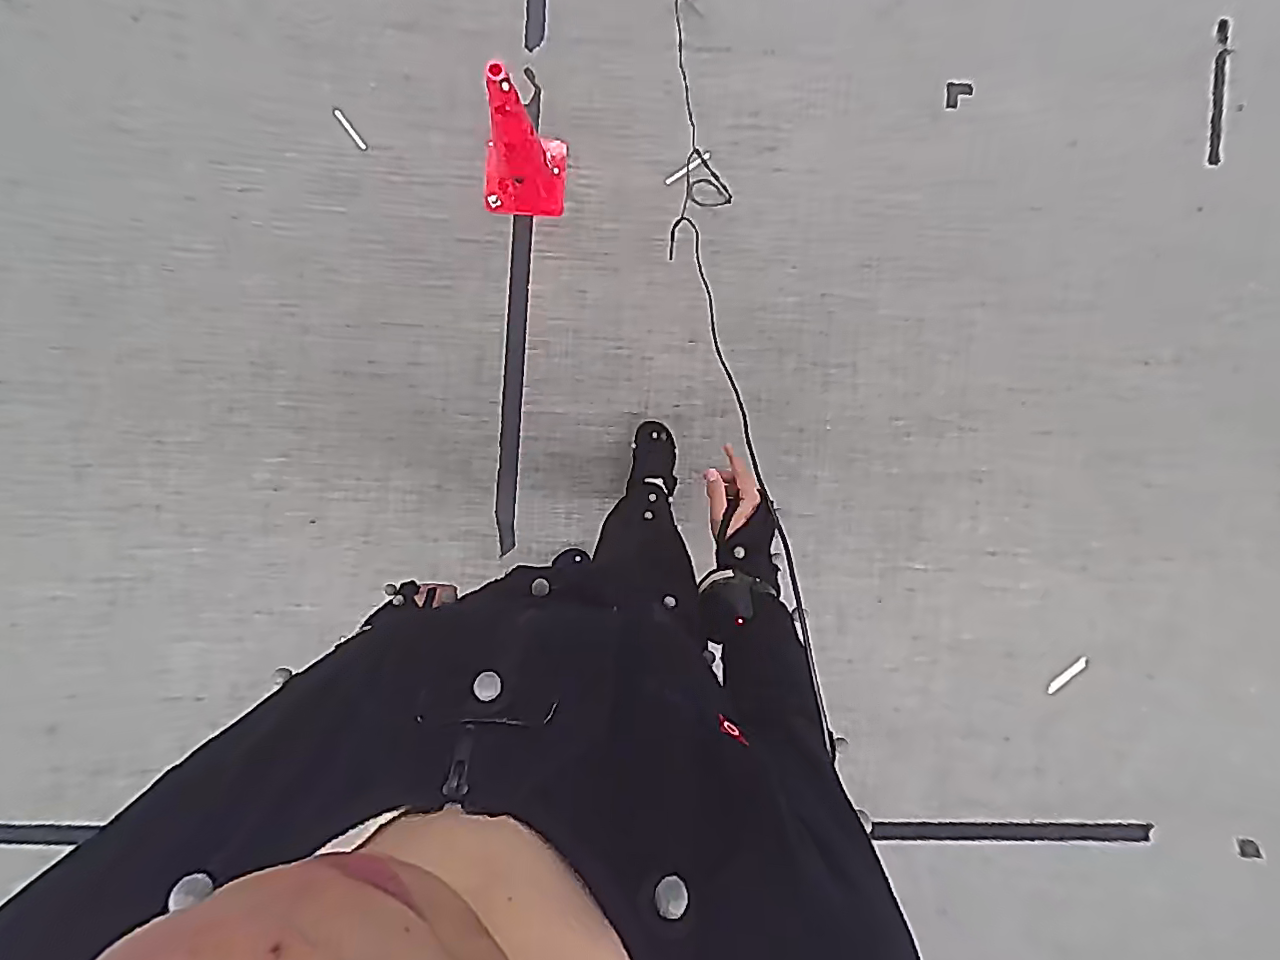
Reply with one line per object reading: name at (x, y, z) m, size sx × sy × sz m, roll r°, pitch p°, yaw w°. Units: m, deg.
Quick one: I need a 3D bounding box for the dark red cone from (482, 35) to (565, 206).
dark red cone at (-0.277, -0.785, 1.176) m, size 0.201 × 0.394 × 0.202 m, roll 2°, pitch 89°, yaw -4°
